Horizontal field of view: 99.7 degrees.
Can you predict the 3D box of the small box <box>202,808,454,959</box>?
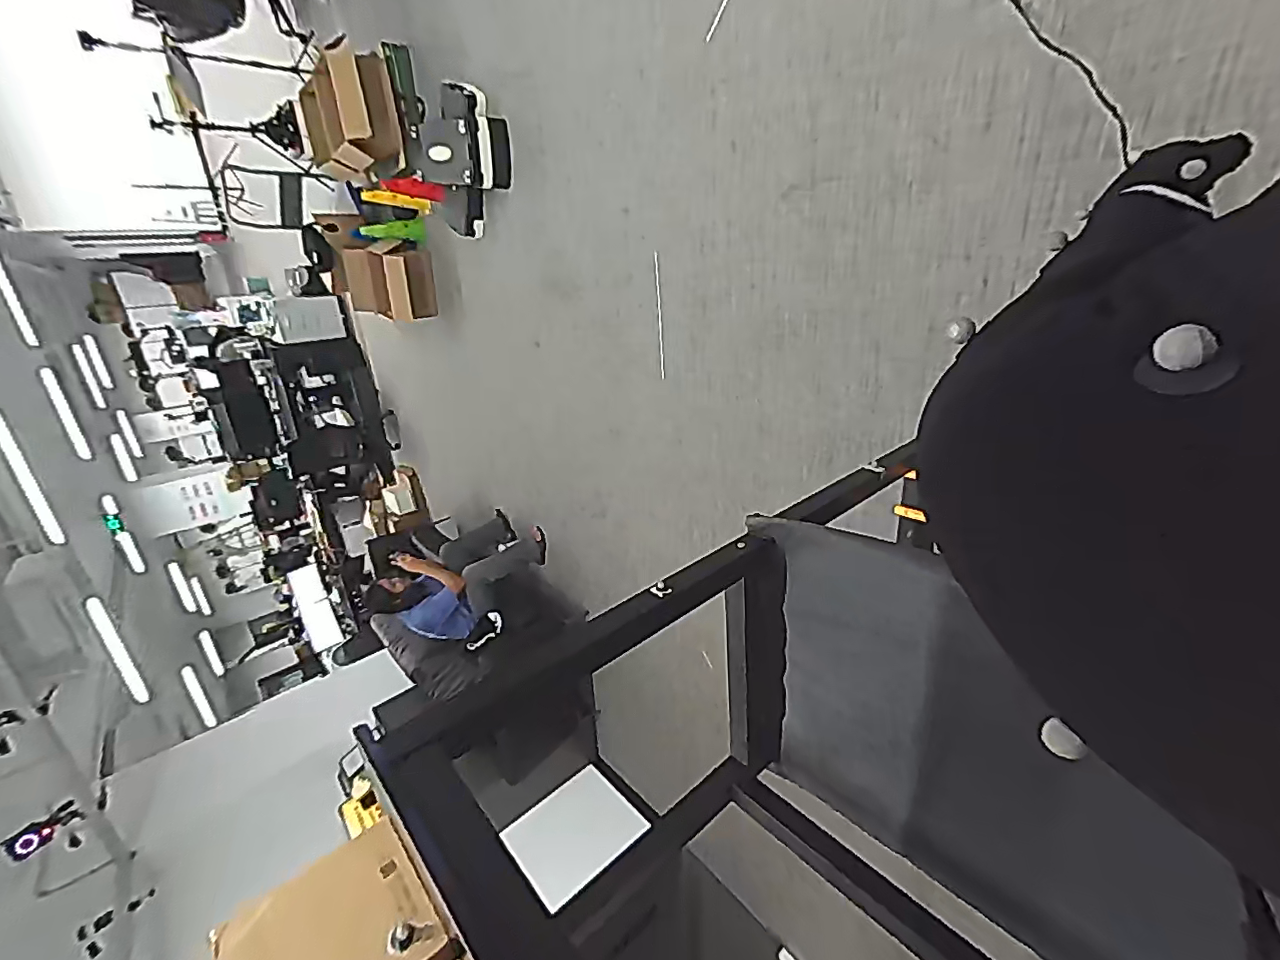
[{"bbox_3d":[-0.287,0.477,0.531,0.168,0.176,0.179,23,125,43],"label":"small box"}]
